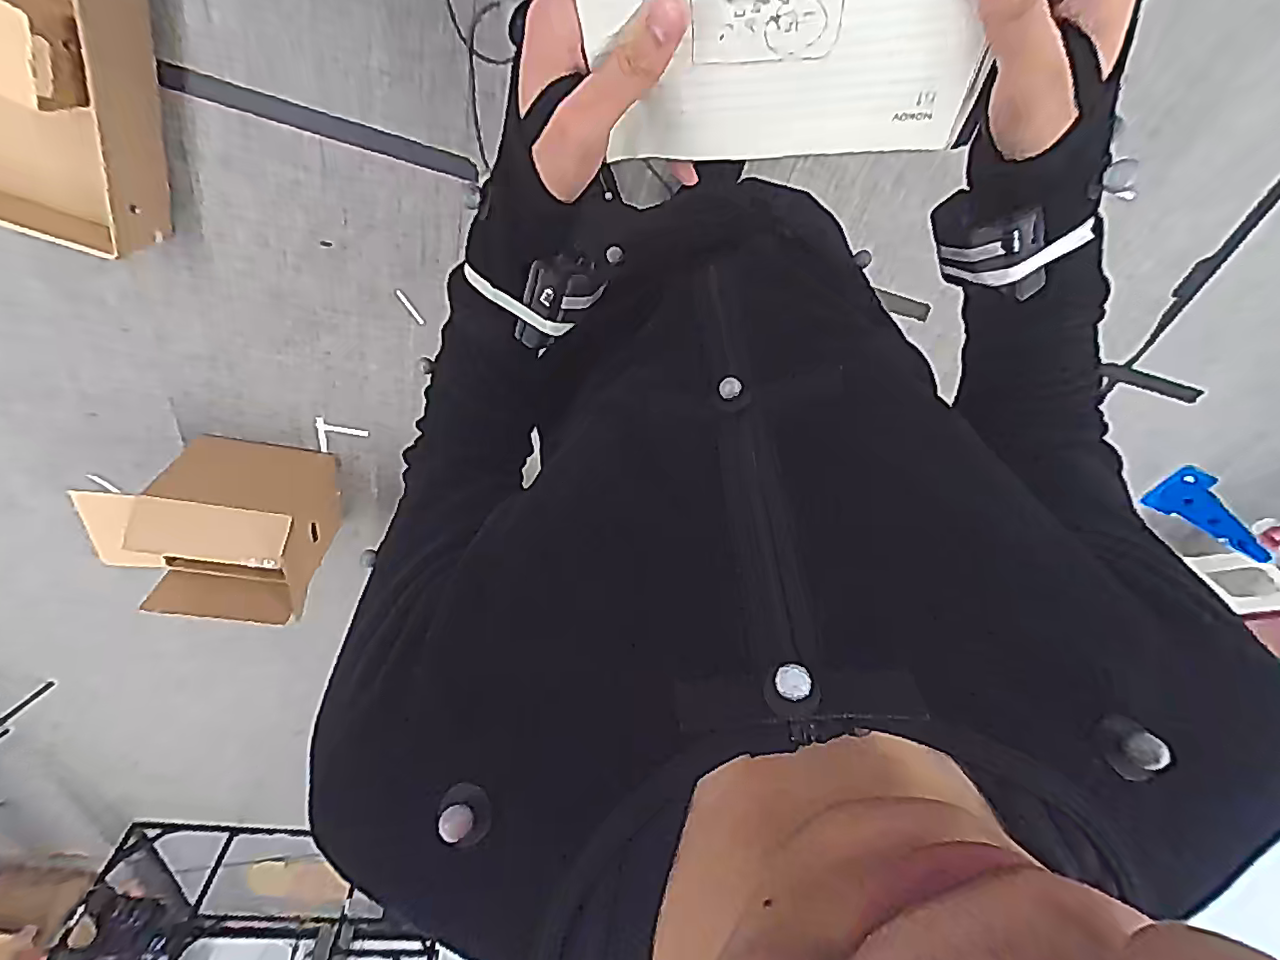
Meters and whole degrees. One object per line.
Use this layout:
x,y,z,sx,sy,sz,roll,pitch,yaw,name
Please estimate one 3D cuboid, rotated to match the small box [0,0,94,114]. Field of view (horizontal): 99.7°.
-1.183,-0.832,1.015,0.179,0.176,0.168,23,124,-20,small box
